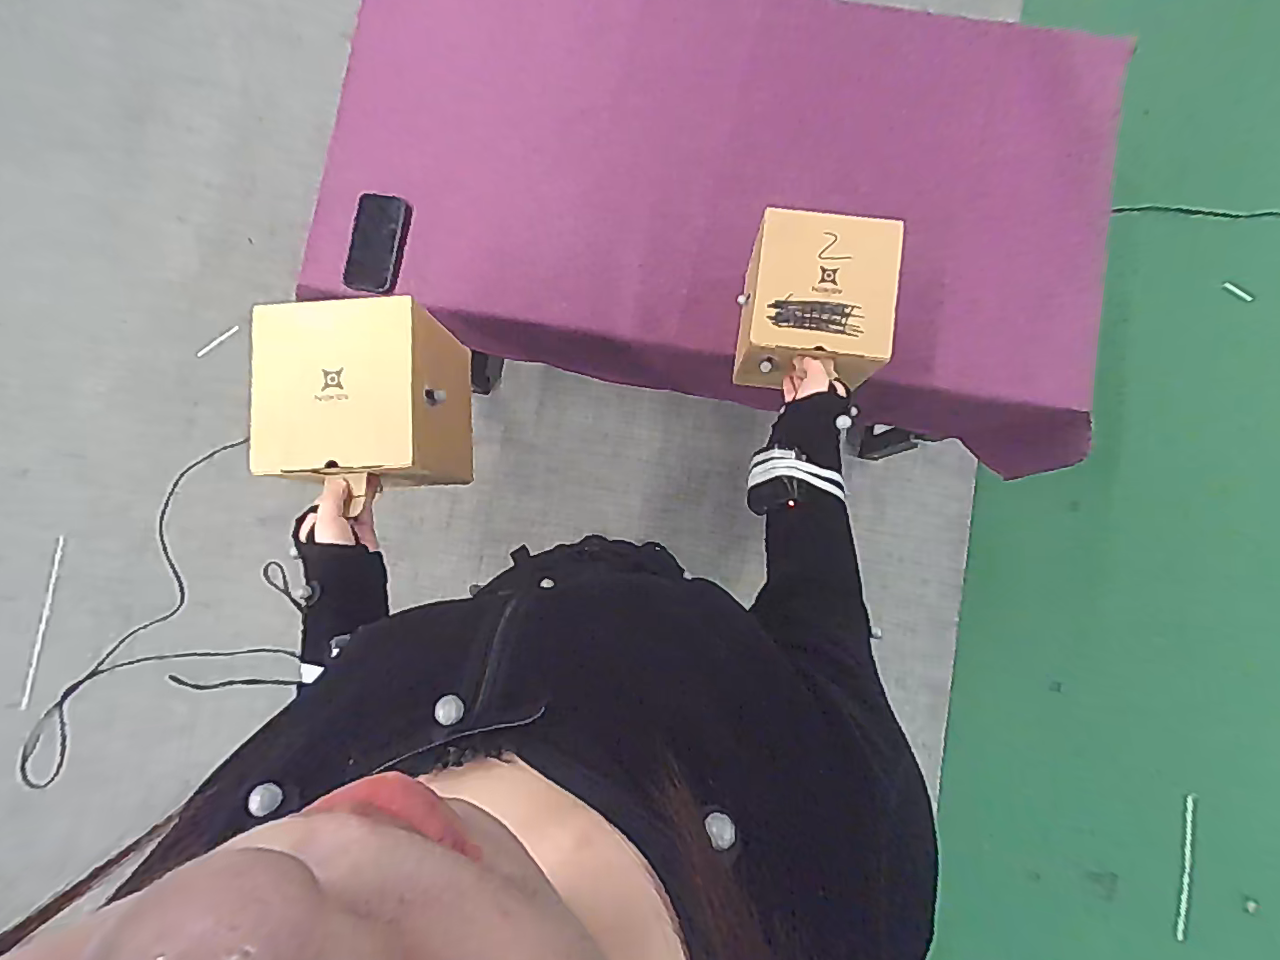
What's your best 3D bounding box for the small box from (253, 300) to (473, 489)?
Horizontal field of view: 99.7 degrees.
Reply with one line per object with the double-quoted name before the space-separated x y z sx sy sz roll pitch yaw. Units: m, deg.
"small box" -0.298 -0.086 0.617 0.168 0.176 0.179 -3 85 1
